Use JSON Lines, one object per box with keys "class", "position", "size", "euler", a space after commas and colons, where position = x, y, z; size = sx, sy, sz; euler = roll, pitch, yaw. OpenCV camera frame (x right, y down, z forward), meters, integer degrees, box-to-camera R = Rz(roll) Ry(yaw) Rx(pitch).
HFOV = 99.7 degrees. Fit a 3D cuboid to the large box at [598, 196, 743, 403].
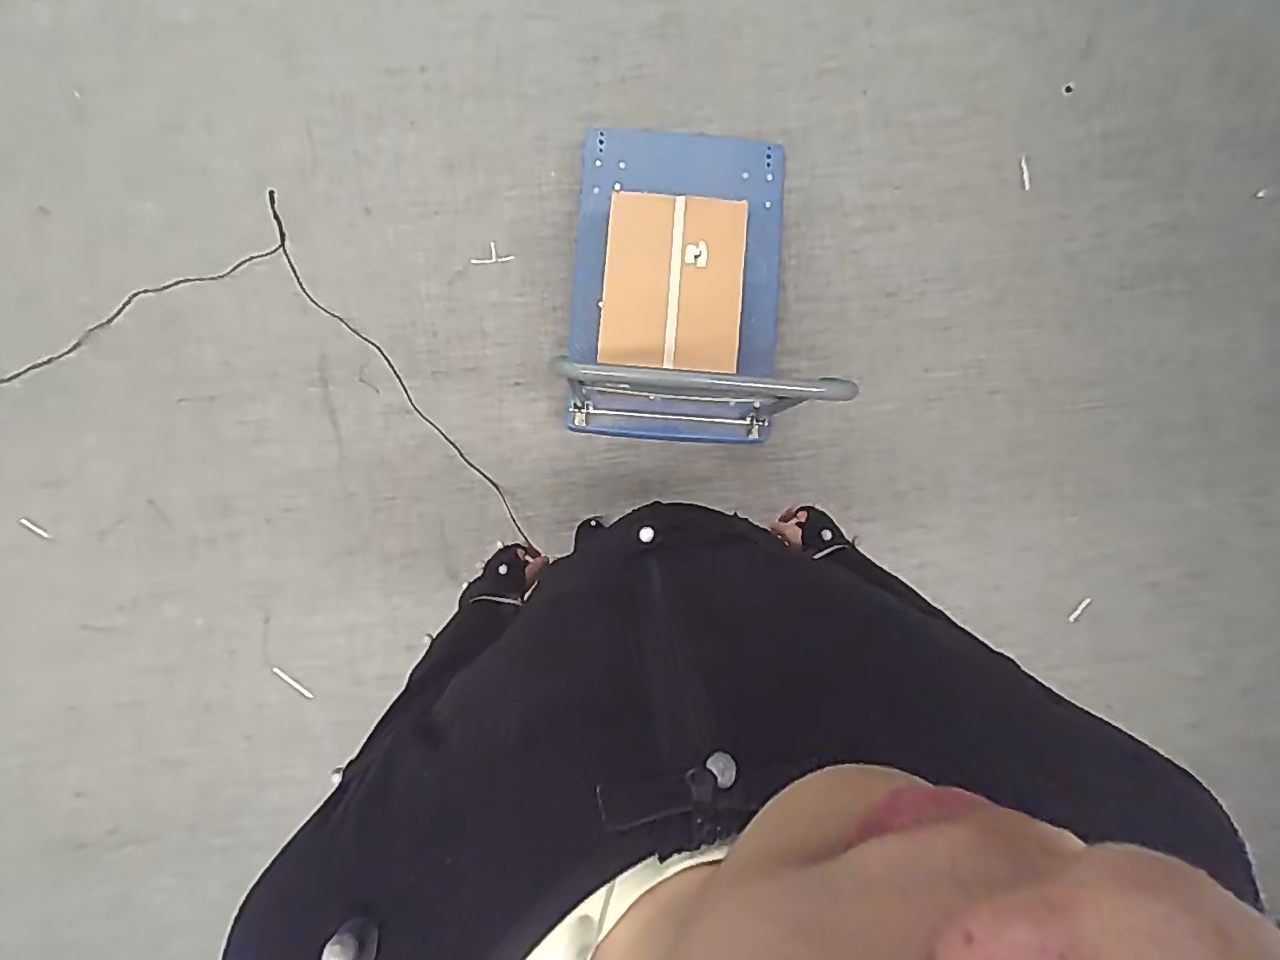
{"class": "large box", "position": [0.069, -0.430, 1.368], "size": [0.320, 0.320, 0.408], "euler": [5, 85, -2]}
